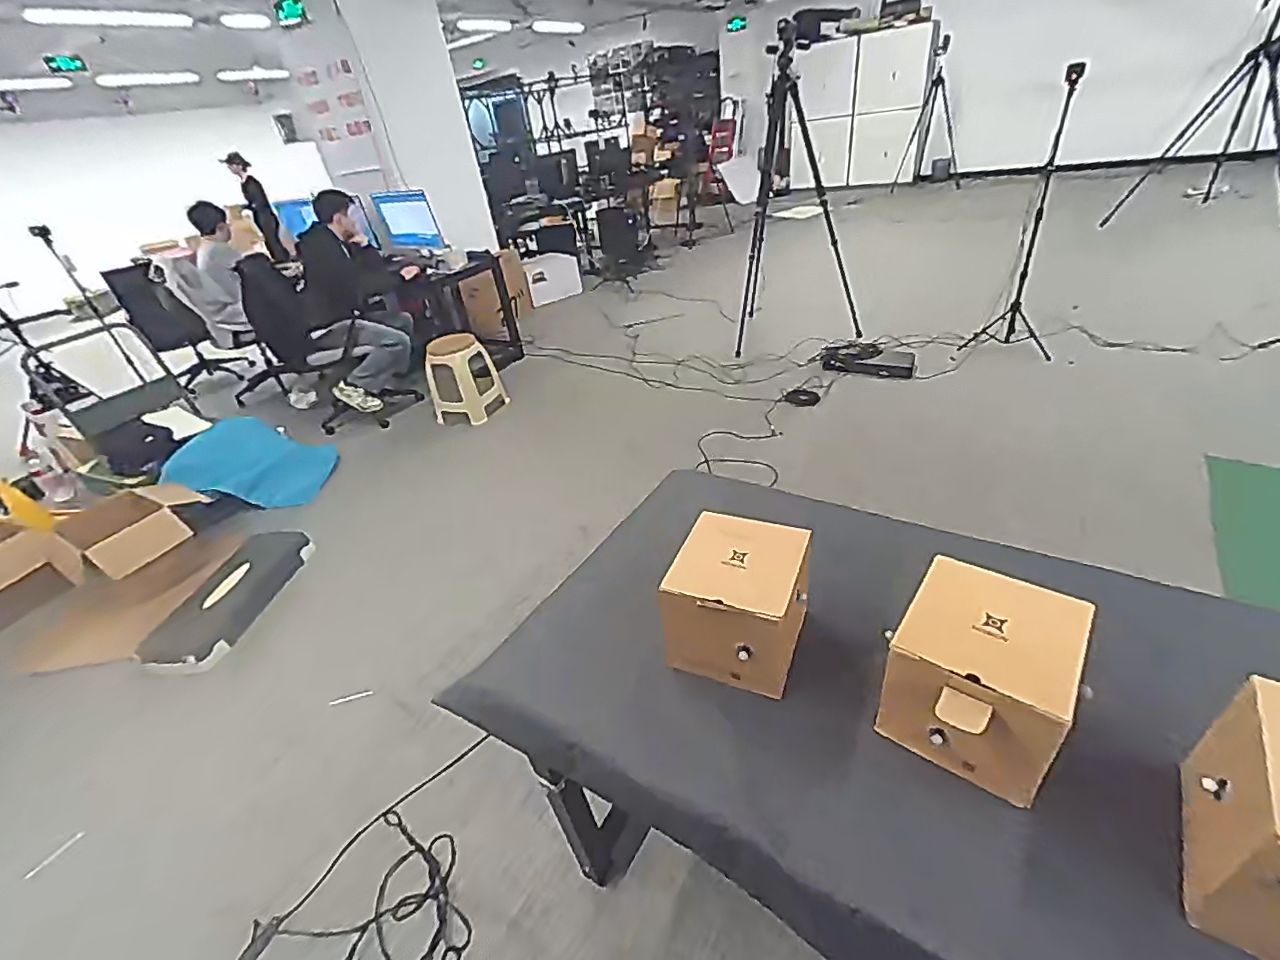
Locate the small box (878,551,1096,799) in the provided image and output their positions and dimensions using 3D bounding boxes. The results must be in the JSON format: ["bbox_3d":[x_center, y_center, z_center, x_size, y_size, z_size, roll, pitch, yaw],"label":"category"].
[{"bbox_3d":[0.396,0.221,0.635,0.168,0.176,0.179,20,44,35],"label":"small box"}]

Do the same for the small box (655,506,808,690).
[{"bbox_3d":[0.137,0.165,0.774,0.168,0.176,0.179,10,37,24],"label":"small box"}]
